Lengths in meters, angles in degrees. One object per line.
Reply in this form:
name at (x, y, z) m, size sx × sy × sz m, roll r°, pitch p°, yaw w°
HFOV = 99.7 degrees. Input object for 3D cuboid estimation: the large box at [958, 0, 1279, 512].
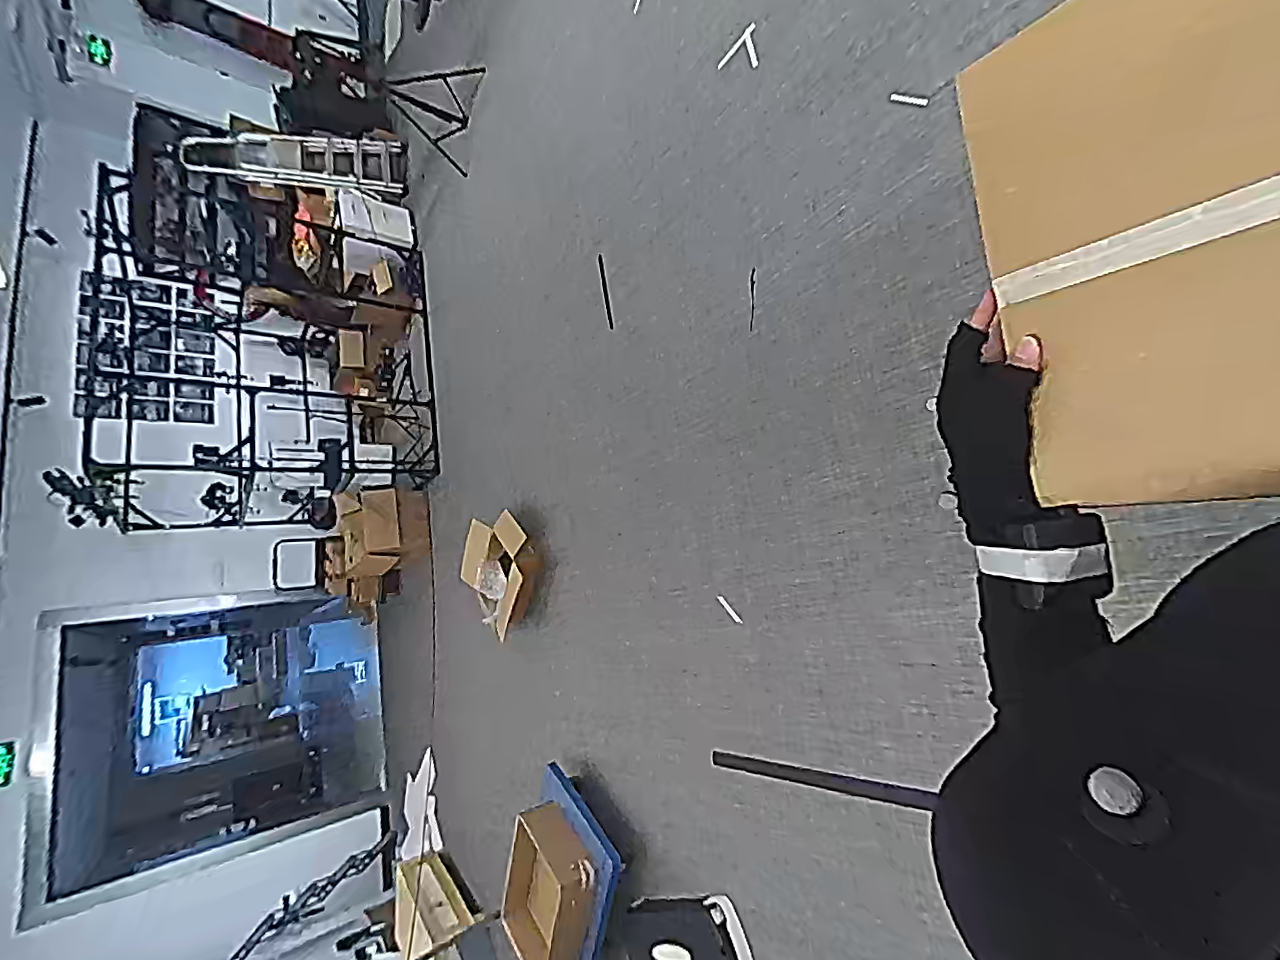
large box at (0.494, -0.174, 0.325) m, size 0.408 × 0.320 × 0.320 m, roll -11°, pitch 89°, yaw 53°
